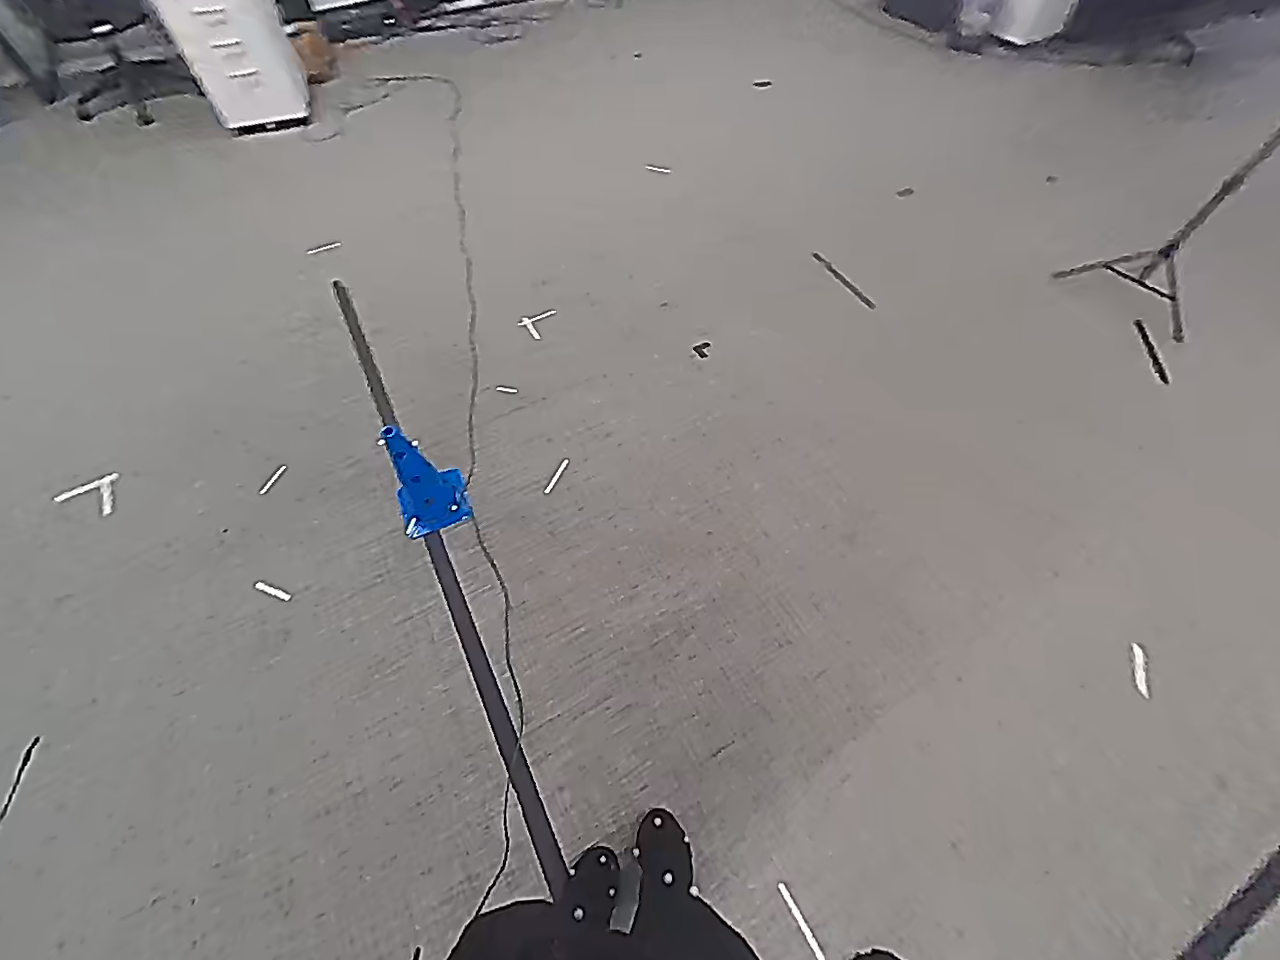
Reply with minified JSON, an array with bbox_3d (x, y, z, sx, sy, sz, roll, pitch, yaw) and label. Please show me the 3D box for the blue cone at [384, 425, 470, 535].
[{"bbox_3d":[-0.632,-0.029,1.515,0.193,0.380,0.192,-22,59,-14],"label":"blue cone"}]
